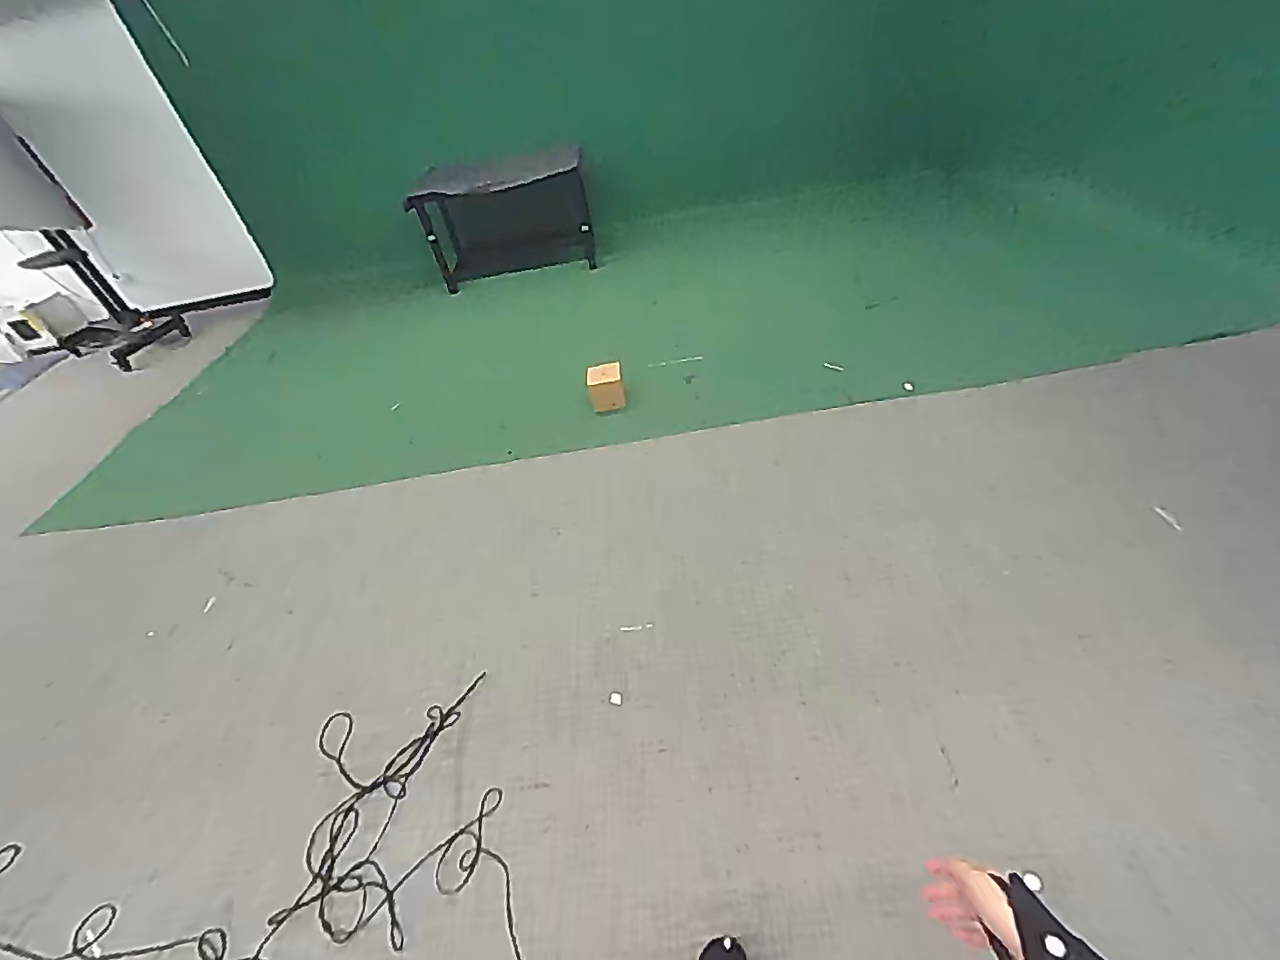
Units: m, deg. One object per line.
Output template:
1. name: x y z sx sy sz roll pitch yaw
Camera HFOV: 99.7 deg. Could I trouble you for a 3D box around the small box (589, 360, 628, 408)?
1. small box: -0.157 -0.478 2.728 0.168 0.176 0.179 -10 41 3
